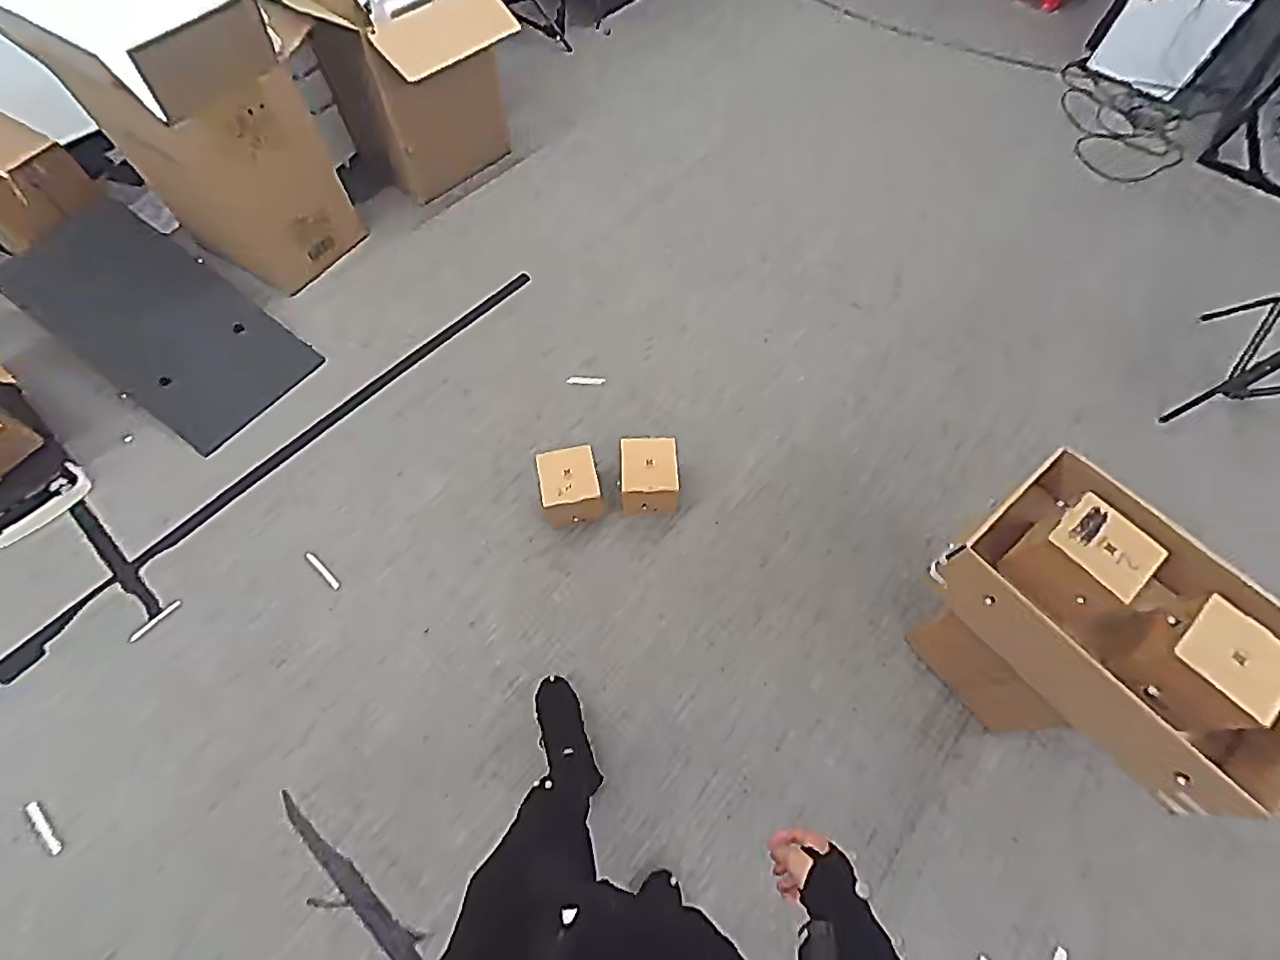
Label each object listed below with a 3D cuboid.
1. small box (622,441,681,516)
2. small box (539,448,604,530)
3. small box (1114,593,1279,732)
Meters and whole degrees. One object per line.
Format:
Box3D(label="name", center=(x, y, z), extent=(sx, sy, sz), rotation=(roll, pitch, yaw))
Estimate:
Box3D(label="small box", center=(0.030, -0.003, 1.658), extent=(0.168, 0.176, 0.179), rotation=(-2, 64, -3))
Box3D(label="small box", center=(-0.205, 0.029, 1.633), extent=(0.168, 0.176, 0.179), rotation=(-11, 64, -6))
Box3D(label="small box", center=(1.071, 0.350, 1.029), extent=(0.179, 0.176, 0.168), rotation=(-35, 67, -21))
